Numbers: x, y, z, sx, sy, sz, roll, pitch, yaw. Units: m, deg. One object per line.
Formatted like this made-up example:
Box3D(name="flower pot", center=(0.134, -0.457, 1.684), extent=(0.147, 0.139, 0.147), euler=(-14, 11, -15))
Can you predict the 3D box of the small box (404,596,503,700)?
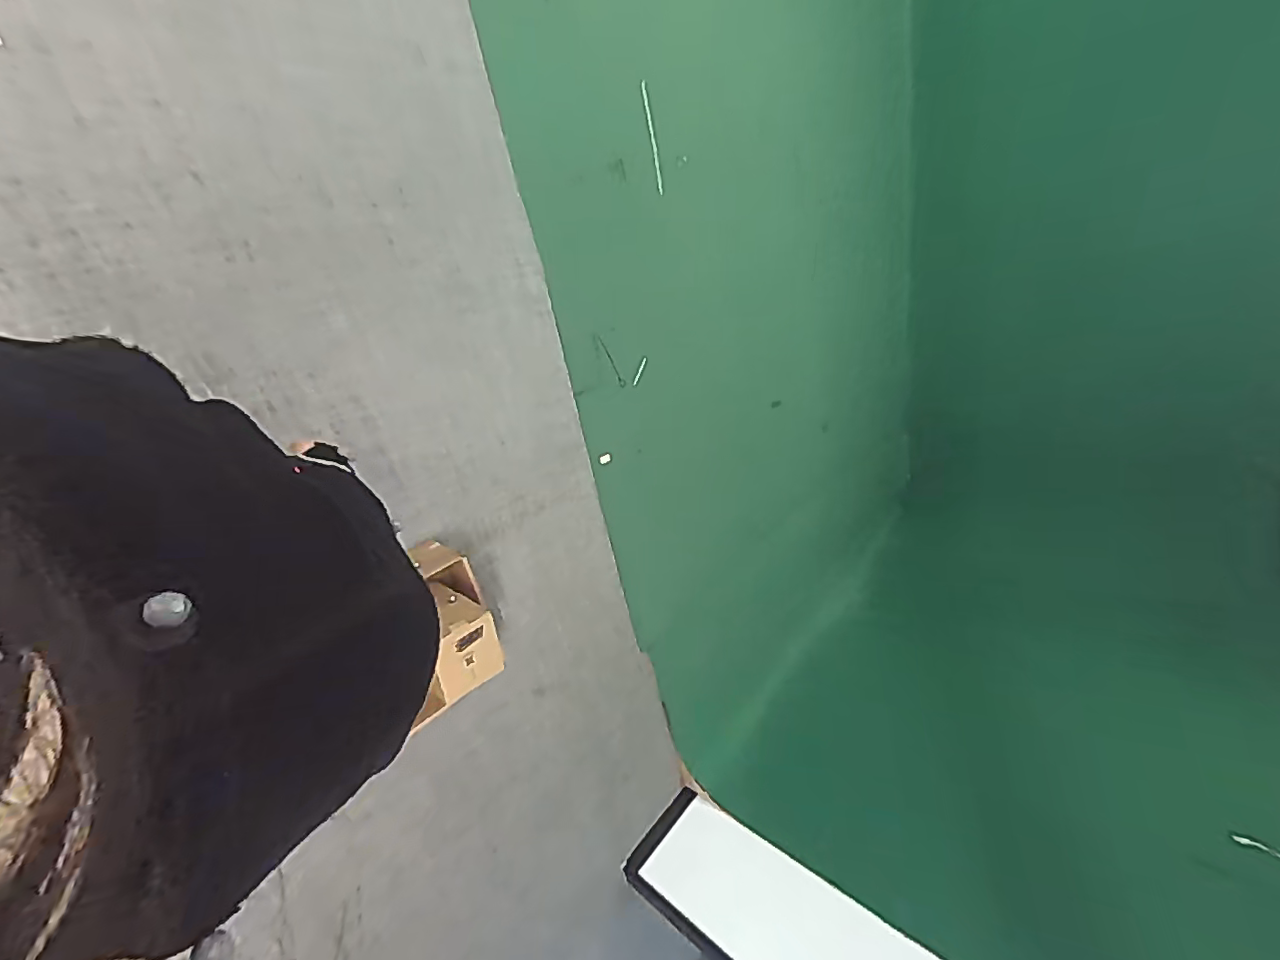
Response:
Box3D(name="small box", center=(-0.480, 0.416, 1.384), extent=(0.168, 0.176, 0.179), euler=(-24, 116, -39))
